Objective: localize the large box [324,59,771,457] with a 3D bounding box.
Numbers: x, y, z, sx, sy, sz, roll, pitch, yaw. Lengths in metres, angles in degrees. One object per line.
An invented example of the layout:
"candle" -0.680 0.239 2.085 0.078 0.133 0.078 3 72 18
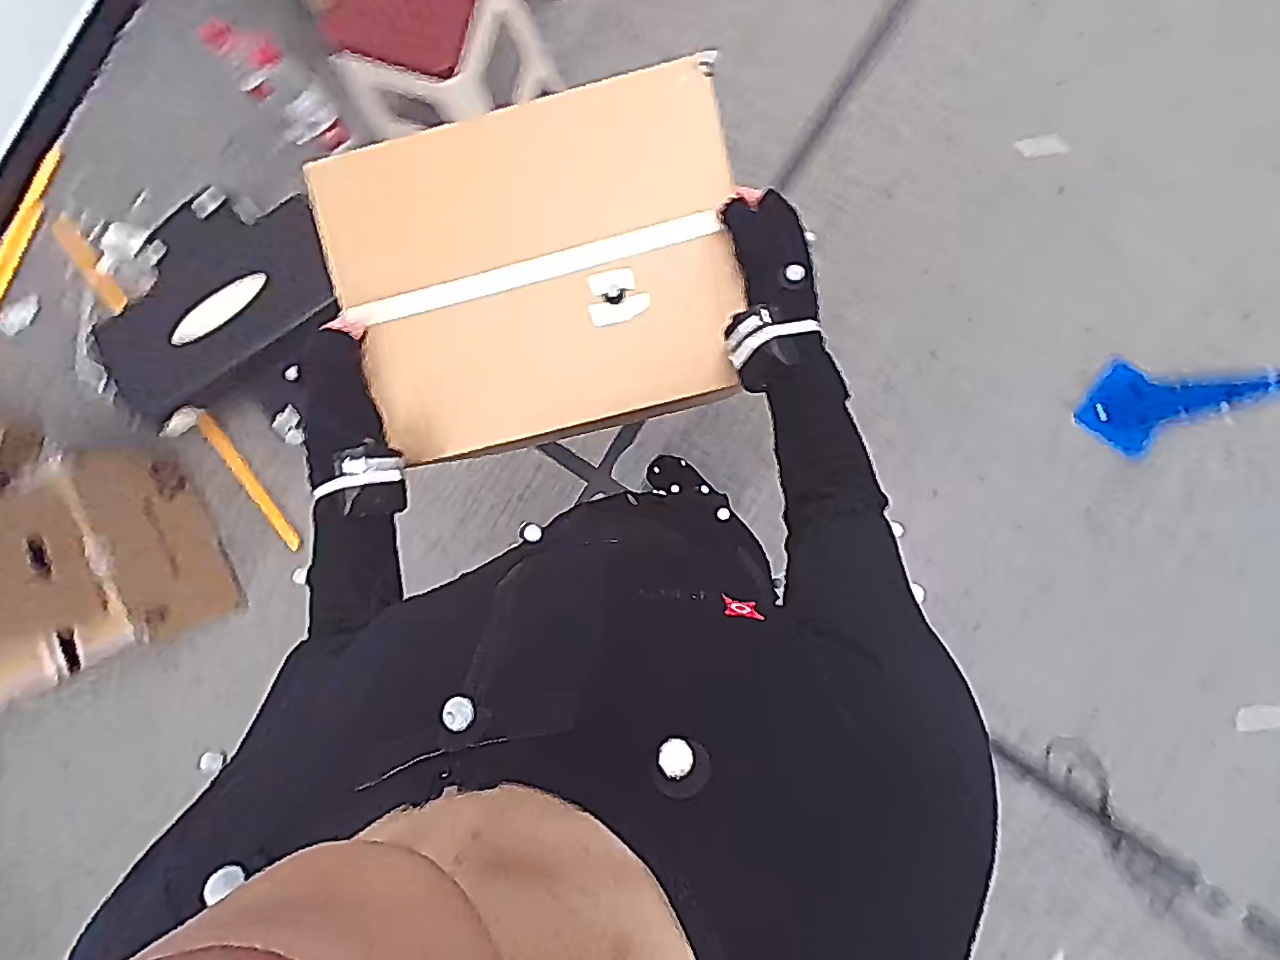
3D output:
"large box" -0.090 -0.225 0.688 0.408 0.320 0.320 -13 94 3
